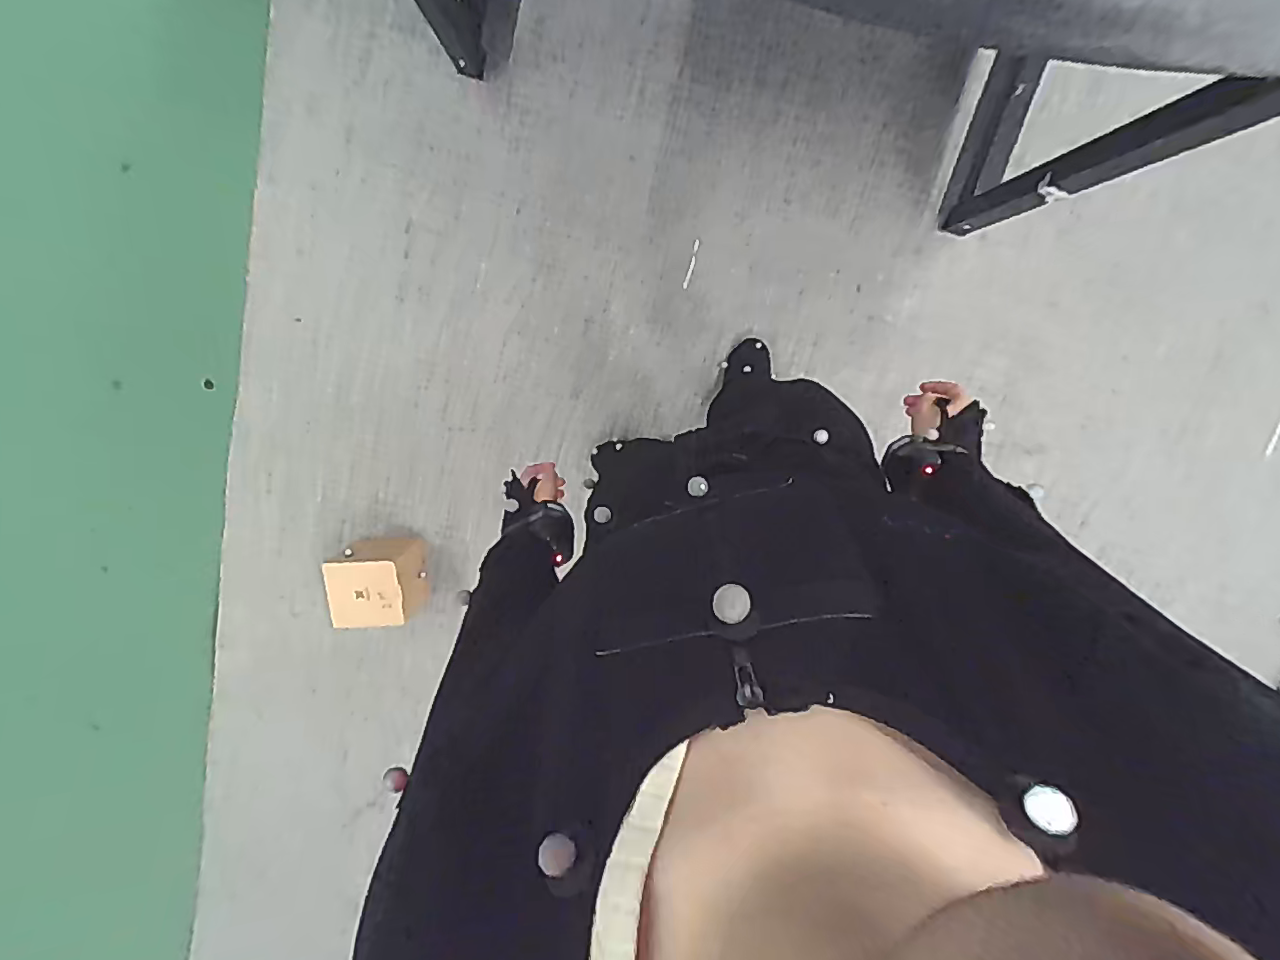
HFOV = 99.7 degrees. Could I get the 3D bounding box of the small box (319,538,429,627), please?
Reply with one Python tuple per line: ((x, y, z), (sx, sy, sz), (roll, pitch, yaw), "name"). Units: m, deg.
((-0.646, 0.248, 1.331), (0.179, 0.176, 0.168), (-3, 103, 1), "small box")
